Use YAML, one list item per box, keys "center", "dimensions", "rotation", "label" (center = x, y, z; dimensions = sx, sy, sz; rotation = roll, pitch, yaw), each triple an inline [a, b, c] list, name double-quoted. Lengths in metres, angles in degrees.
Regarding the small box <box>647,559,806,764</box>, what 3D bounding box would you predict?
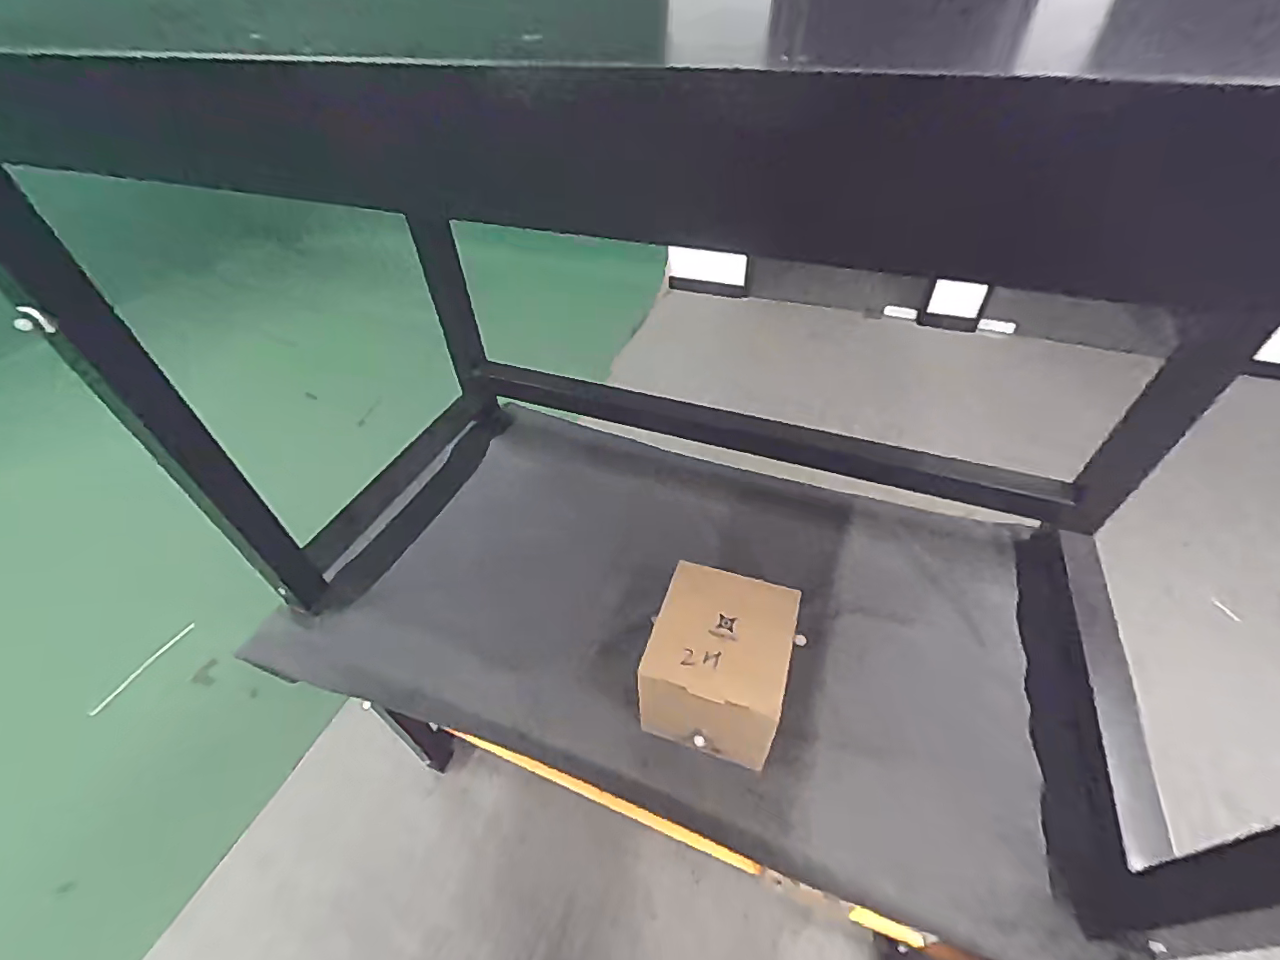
- center: [0.113, 0.240, 0.723]
  dimensions: [0.168, 0.176, 0.179]
  rotation: [13, 45, 16]
  label: "small box"
